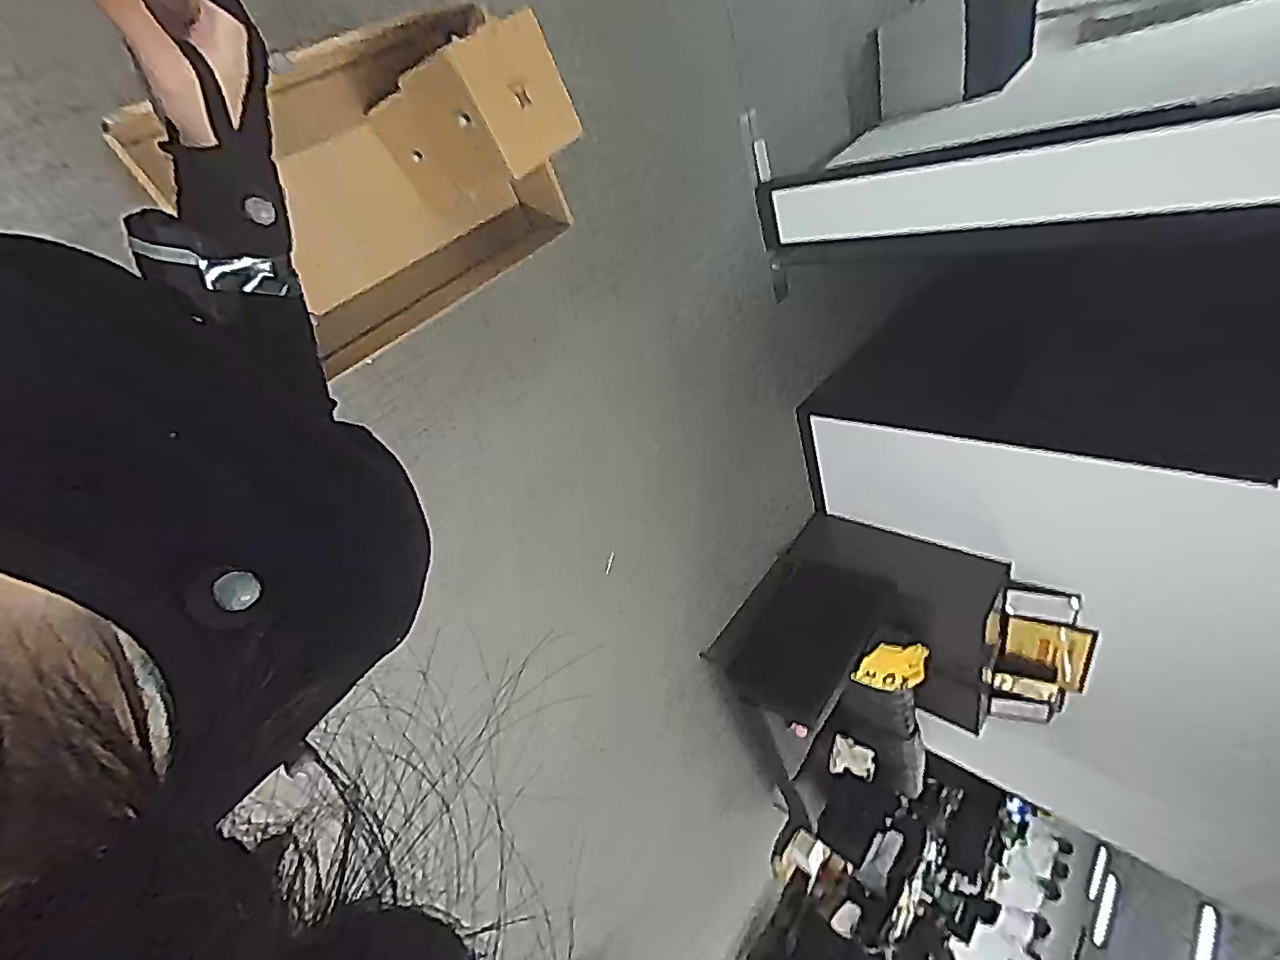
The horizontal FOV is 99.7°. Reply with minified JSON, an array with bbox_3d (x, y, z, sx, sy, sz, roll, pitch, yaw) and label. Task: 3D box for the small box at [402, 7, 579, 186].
[{"bbox_3d":[-0.235,-0.593,0.861,0.168,0.176,0.179,-49,132,-23],"label":"small box"}]
